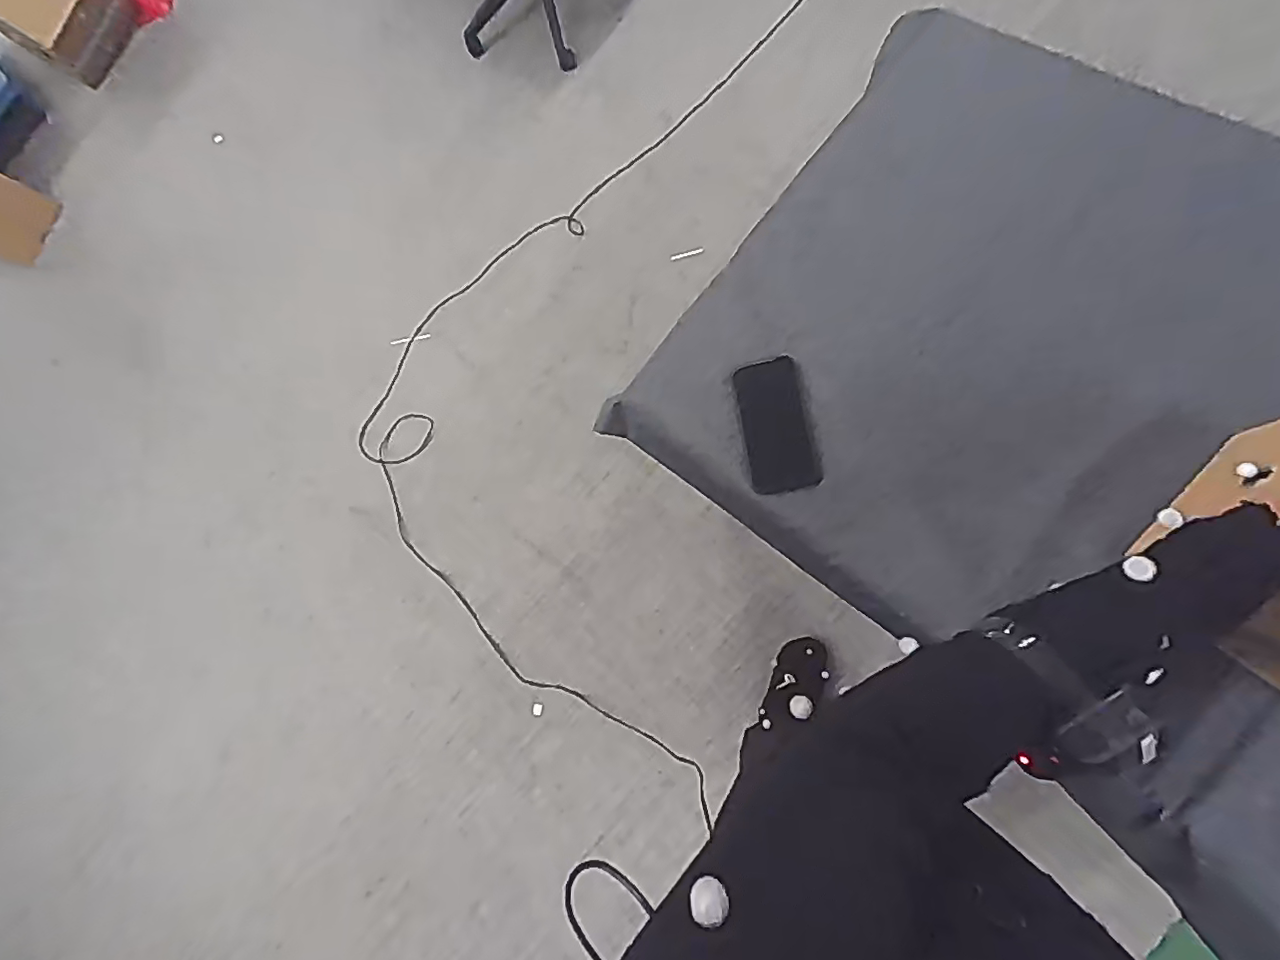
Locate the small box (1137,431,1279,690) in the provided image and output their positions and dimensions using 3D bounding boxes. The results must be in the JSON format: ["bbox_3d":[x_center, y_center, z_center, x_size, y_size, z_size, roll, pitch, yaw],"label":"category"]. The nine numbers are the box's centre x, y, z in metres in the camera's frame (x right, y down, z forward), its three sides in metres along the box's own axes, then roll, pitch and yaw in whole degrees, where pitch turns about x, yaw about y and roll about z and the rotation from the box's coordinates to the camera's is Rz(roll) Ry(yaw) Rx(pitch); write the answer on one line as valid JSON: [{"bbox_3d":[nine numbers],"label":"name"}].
[{"bbox_3d":[0.536,0.063,0.401,0.168,0.176,0.179,42,91,19],"label":"small box"}]
